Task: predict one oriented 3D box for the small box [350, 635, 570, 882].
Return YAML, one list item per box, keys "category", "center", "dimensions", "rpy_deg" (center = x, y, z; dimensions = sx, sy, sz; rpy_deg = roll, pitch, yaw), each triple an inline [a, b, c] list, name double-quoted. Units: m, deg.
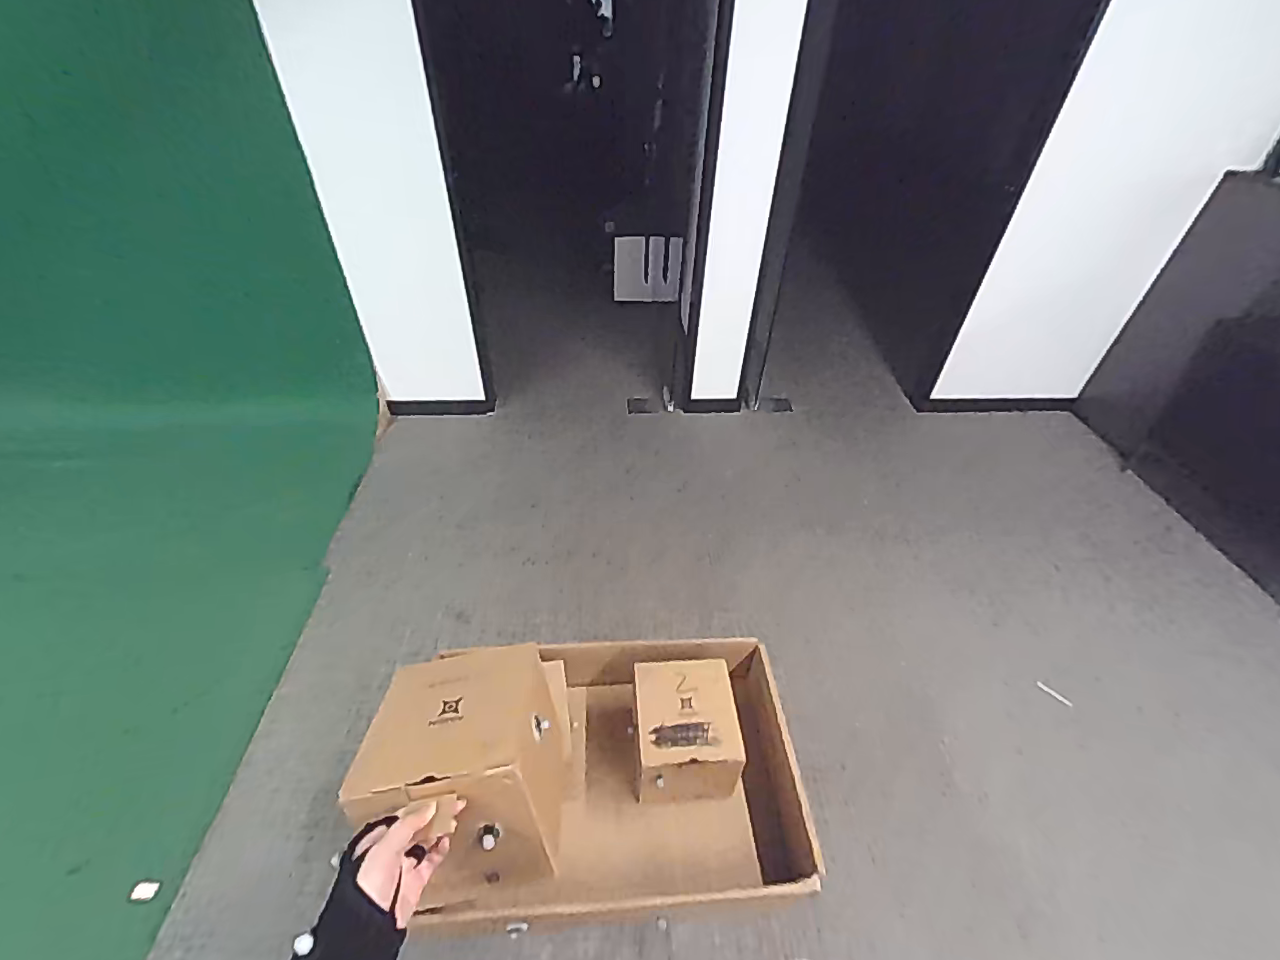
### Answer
- category: "small box"
  center: [-0.178, 0.307, 0.602]
  dimensions: [0.168, 0.176, 0.179]
  rpy_deg: [-11, 21, 0]
